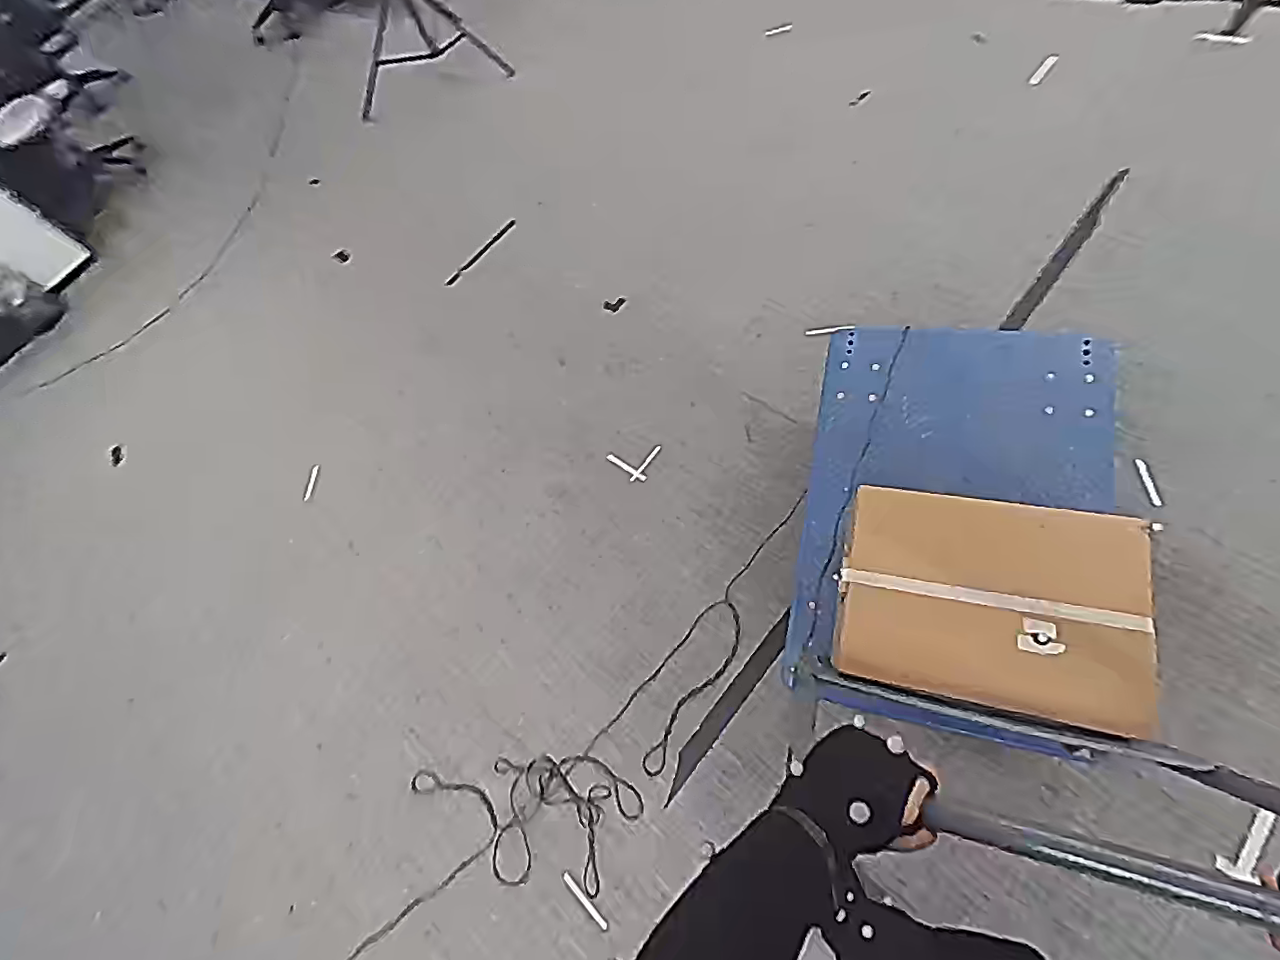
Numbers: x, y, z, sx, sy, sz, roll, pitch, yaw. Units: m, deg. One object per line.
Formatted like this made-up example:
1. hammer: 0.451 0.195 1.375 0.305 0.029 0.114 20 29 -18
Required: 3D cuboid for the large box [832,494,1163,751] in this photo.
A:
1. large box: 0.567 0.235 0.942 0.408 0.320 0.320 8 75 18
